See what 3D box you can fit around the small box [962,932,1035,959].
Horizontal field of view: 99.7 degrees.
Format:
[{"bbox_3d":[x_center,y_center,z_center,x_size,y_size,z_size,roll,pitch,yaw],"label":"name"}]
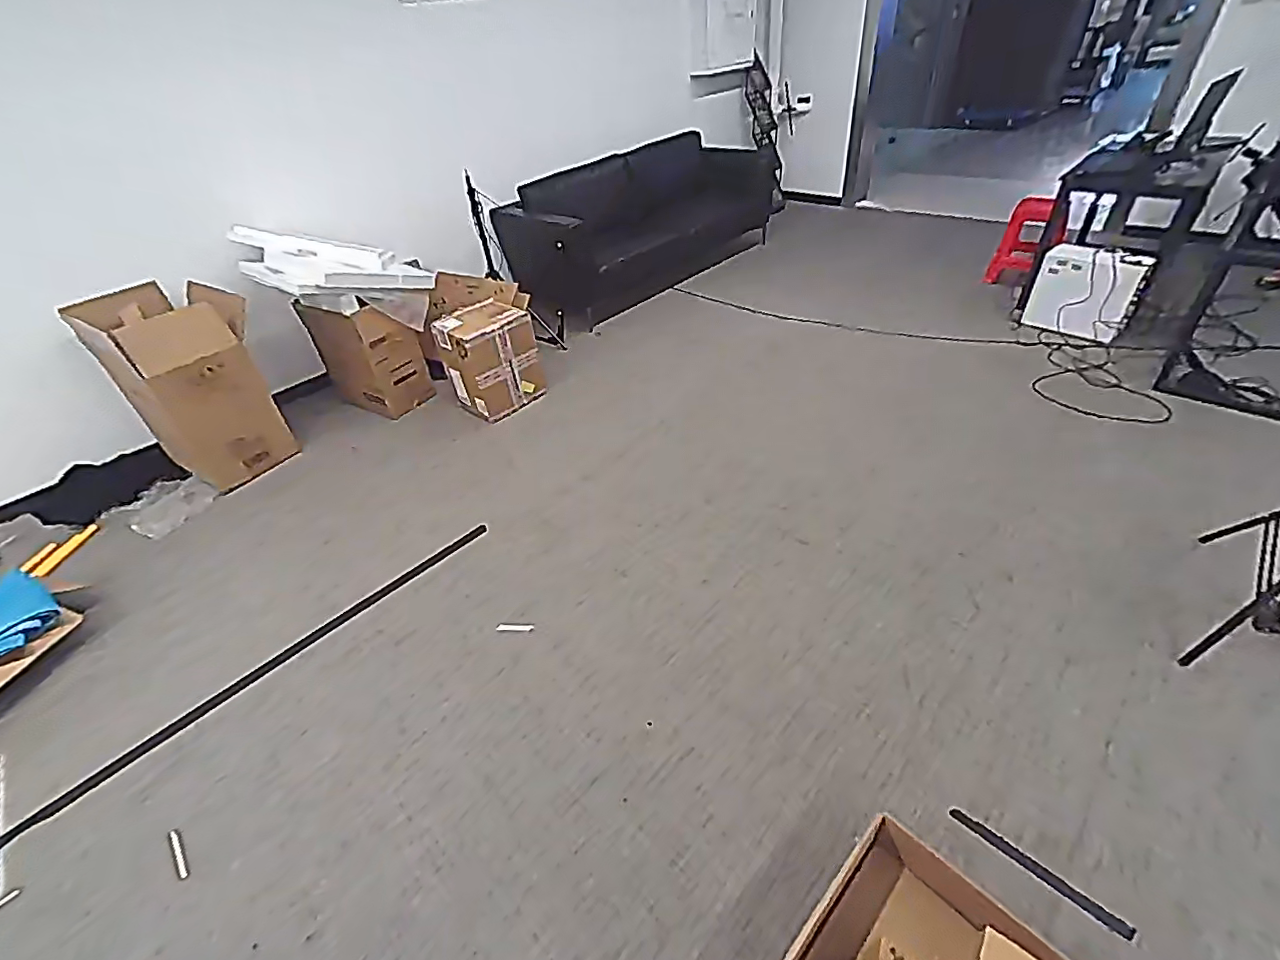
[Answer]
[{"bbox_3d":[0.591,0.862,0.833,0.179,0.176,0.168,22,46,32],"label":"small box"}]
